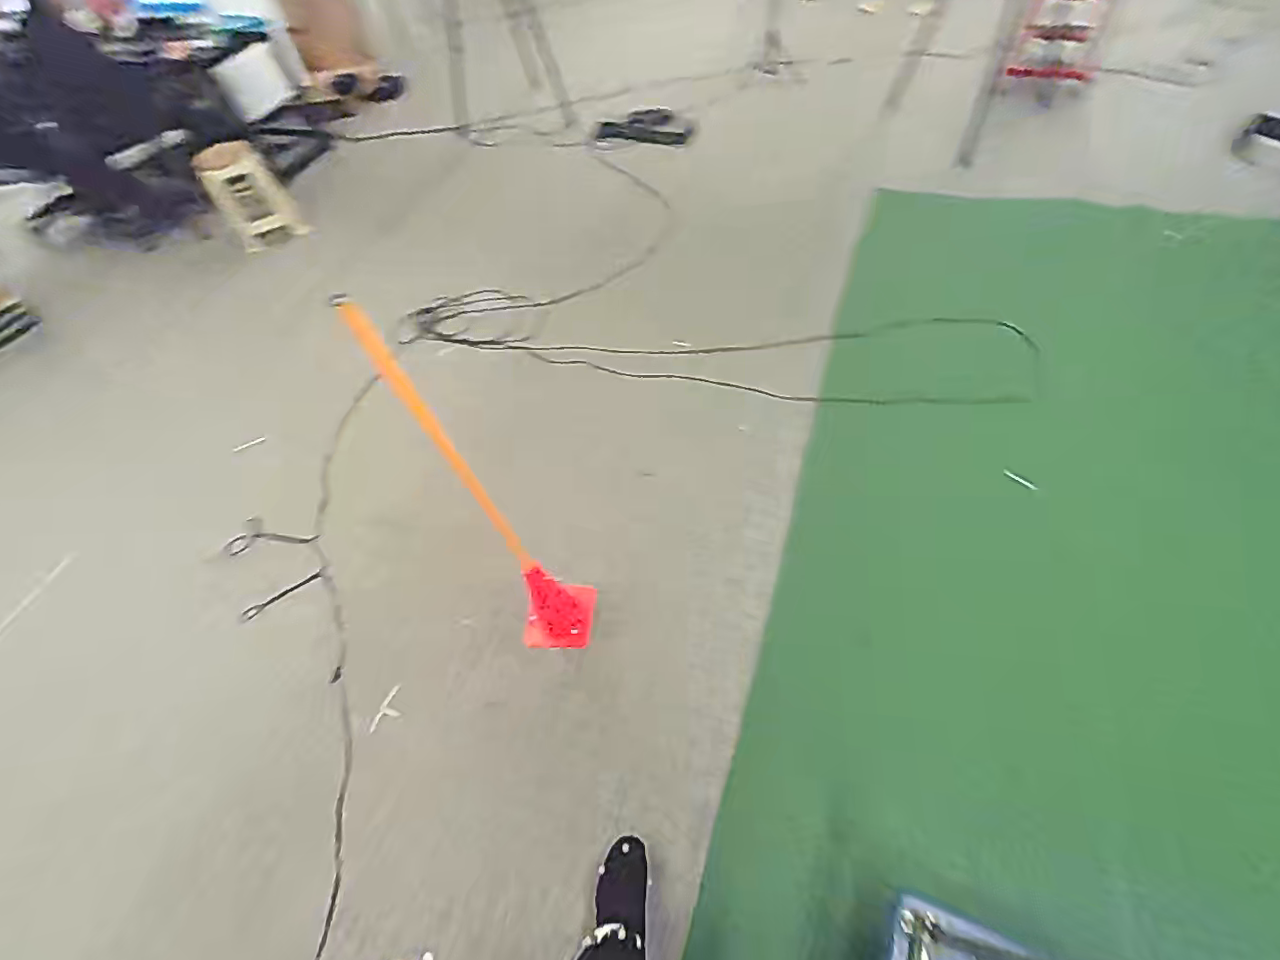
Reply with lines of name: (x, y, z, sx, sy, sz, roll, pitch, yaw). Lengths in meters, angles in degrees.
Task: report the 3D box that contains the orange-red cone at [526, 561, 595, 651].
orange-red cone: (-0.263, 0.327, 1.545, 0.198, 0.360, 0.199, 1, 54, 8)
